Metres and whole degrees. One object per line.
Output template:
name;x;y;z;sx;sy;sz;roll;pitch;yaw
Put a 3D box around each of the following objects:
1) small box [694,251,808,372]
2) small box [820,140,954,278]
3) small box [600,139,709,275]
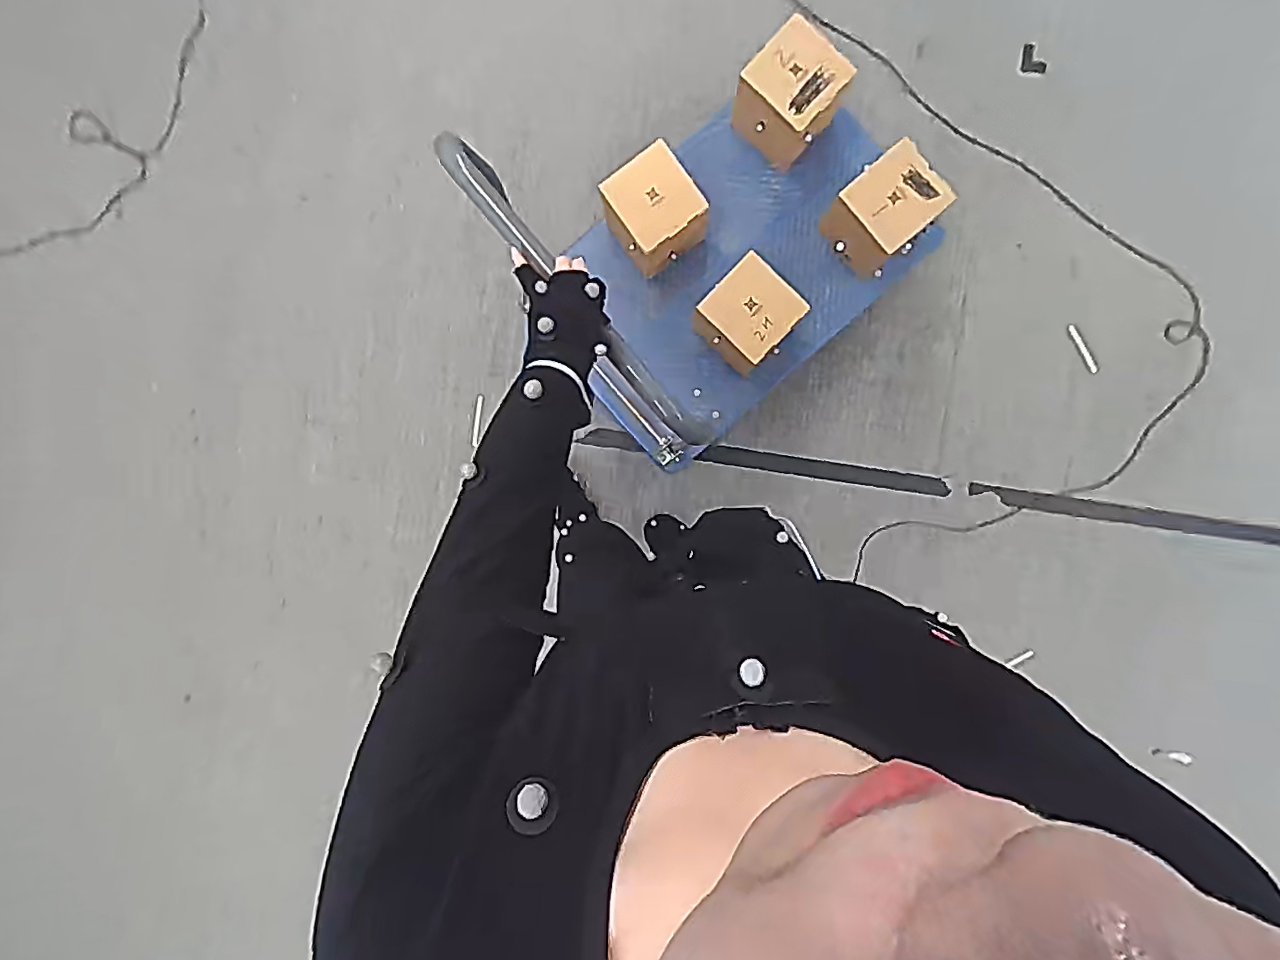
small box;0.235;-0.359;1.198;0.179;0.176;0.168;45;94;0
small box;0.523;-0.576;1.174;0.179;0.176;0.168;-40;90;5
small box;0.030;-0.591;1.196;0.168;0.176;0.179;-36;93;3
